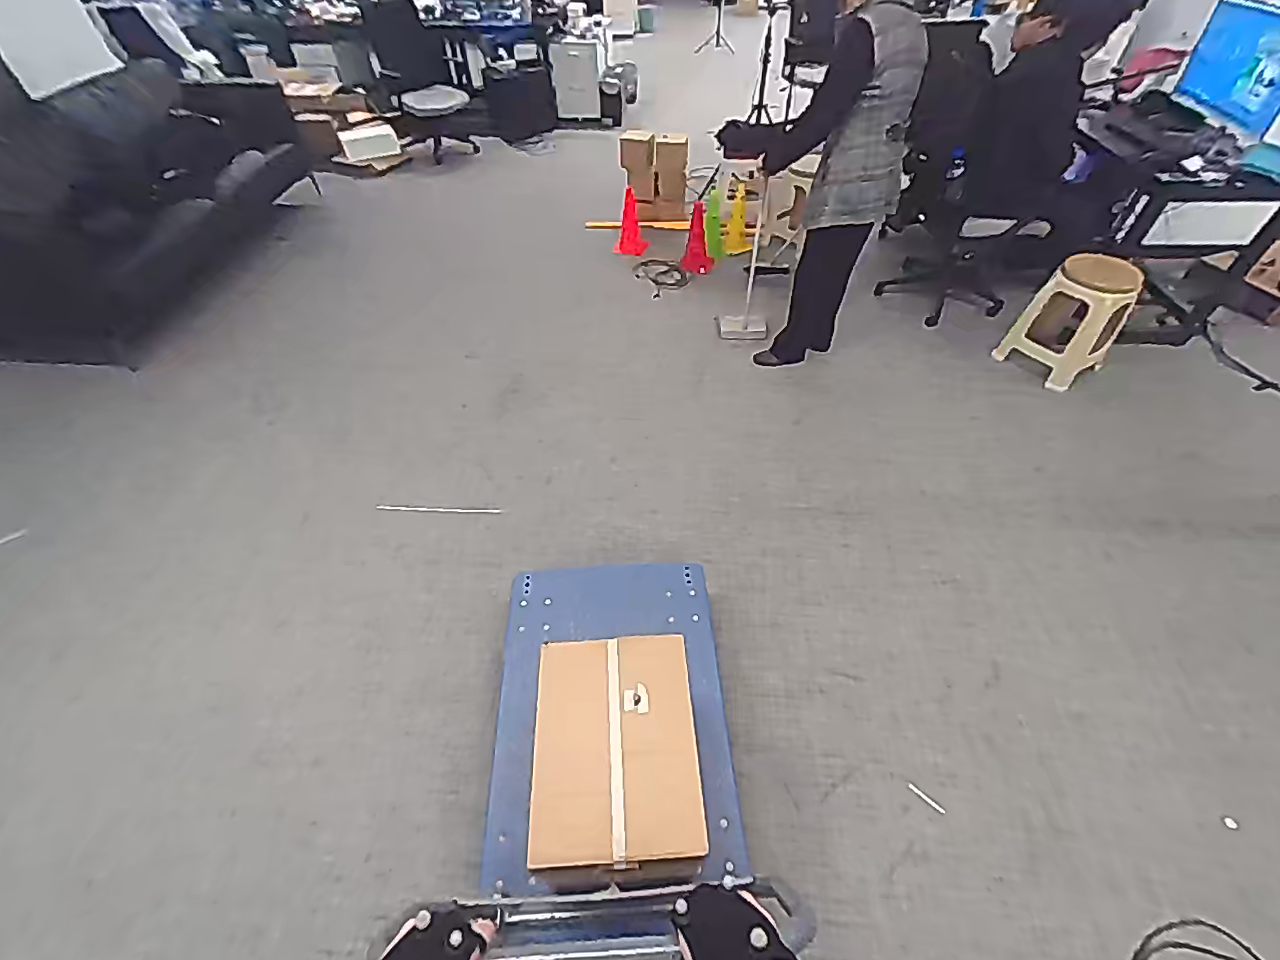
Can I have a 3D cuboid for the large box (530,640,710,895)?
[{"bbox_3d":[-0.045,0.608,1.155,0.320,0.320,0.408,-3,48,-3],"label":"large box"}]
